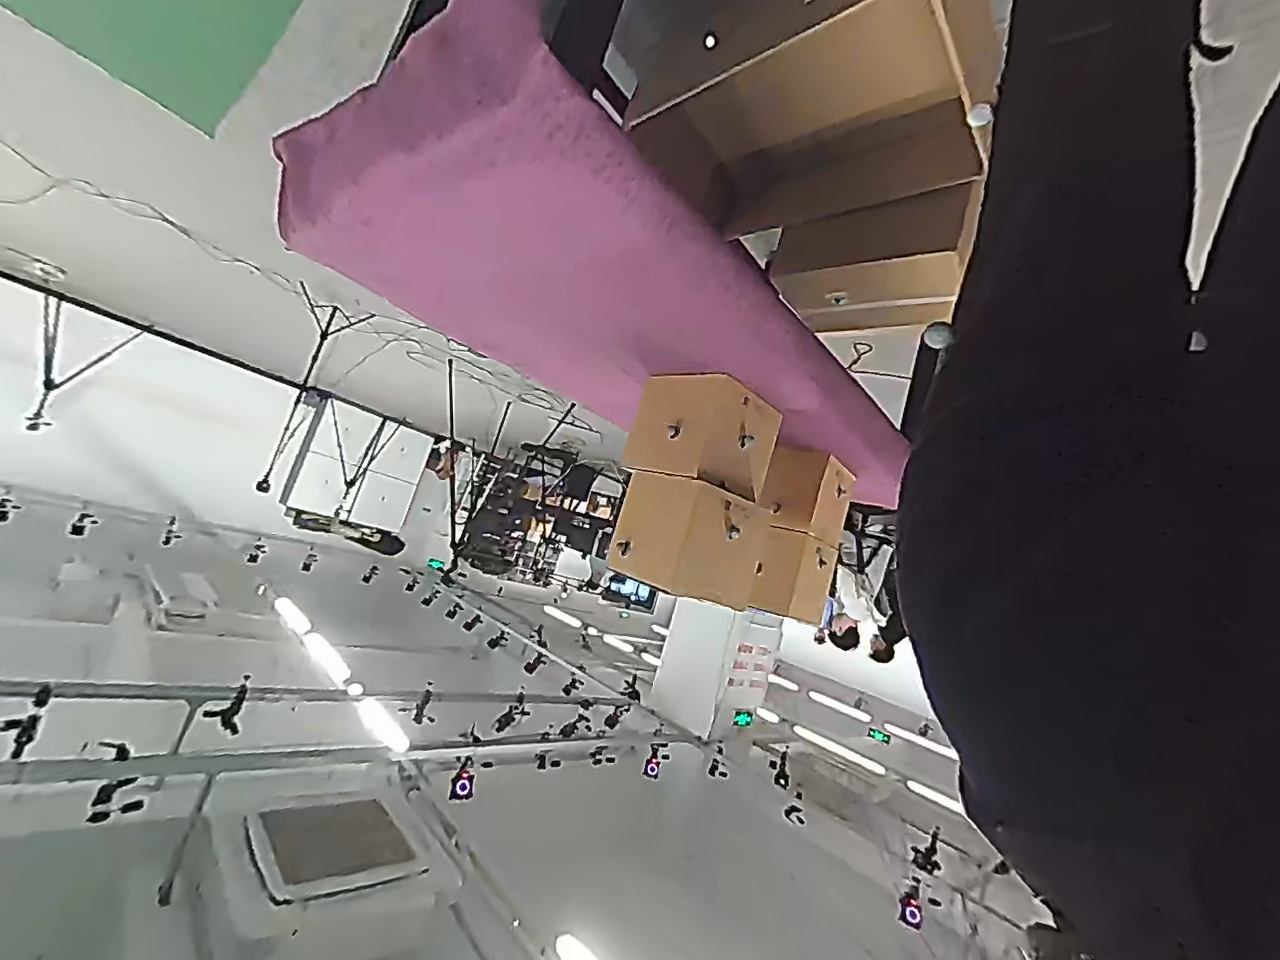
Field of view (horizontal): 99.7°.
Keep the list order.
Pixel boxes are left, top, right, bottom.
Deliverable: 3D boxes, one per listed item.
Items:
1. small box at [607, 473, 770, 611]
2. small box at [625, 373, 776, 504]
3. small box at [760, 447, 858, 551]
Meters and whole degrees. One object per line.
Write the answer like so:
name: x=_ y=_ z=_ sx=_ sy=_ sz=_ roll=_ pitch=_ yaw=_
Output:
small box: x=0.079 y=0.092 z=0.862 sx=0.168 sy=0.176 sz=0.179 roll=22 pitch=171 yaw=-35
small box: x=0.107 y=-0.069 z=0.895 sx=0.168 sy=0.176 sz=0.179 roll=24 pitch=170 yaw=-41
small box: x=0.336 y=0.036 z=1.147 sx=0.179 sy=0.176 sz=0.168 roll=9 pitch=168 yaw=42
